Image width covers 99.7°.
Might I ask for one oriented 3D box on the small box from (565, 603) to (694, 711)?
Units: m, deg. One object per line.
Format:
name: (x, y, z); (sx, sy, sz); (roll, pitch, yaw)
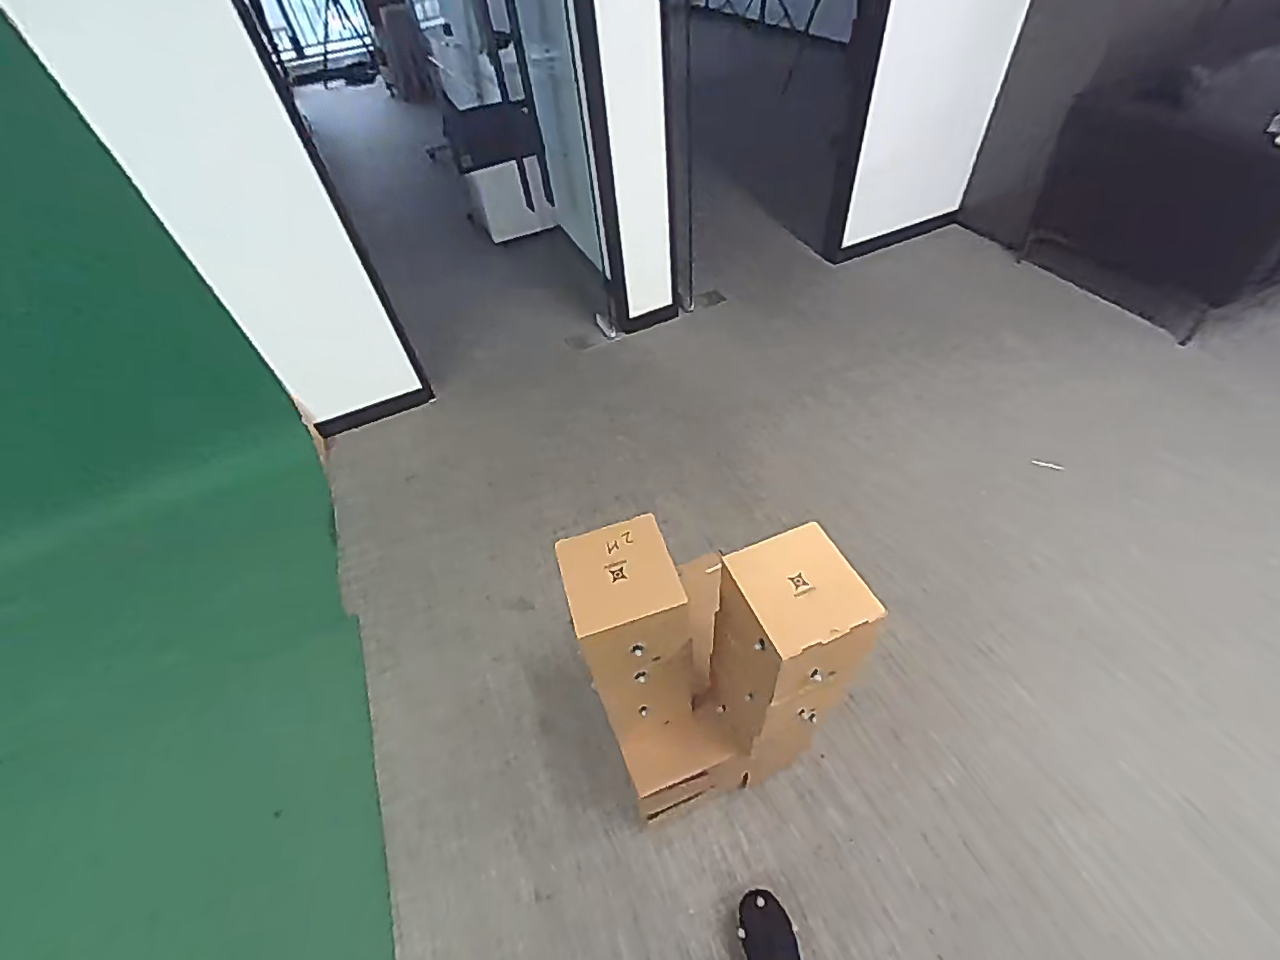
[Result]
small box: (-0.014, 0.293, 0.990); (0.179, 0.176, 0.168); (-23, 49, -9)

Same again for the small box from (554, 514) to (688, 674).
small box: (-0.027, 0.189, 0.865); (0.168, 0.176, 0.179); (-16, 48, -7)

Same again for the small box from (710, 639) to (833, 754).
small box: (0.250, 0.411, 1.077); (0.179, 0.176, 0.168); (-22, 49, -12)

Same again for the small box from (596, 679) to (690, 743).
small box: (-0.007, 0.405, 1.115); (0.168, 0.176, 0.179); (-21, 48, -11)

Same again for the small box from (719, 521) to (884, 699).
small box: (0.231, 0.199, 0.829); (0.168, 0.176, 0.179); (-20, 49, -11)
